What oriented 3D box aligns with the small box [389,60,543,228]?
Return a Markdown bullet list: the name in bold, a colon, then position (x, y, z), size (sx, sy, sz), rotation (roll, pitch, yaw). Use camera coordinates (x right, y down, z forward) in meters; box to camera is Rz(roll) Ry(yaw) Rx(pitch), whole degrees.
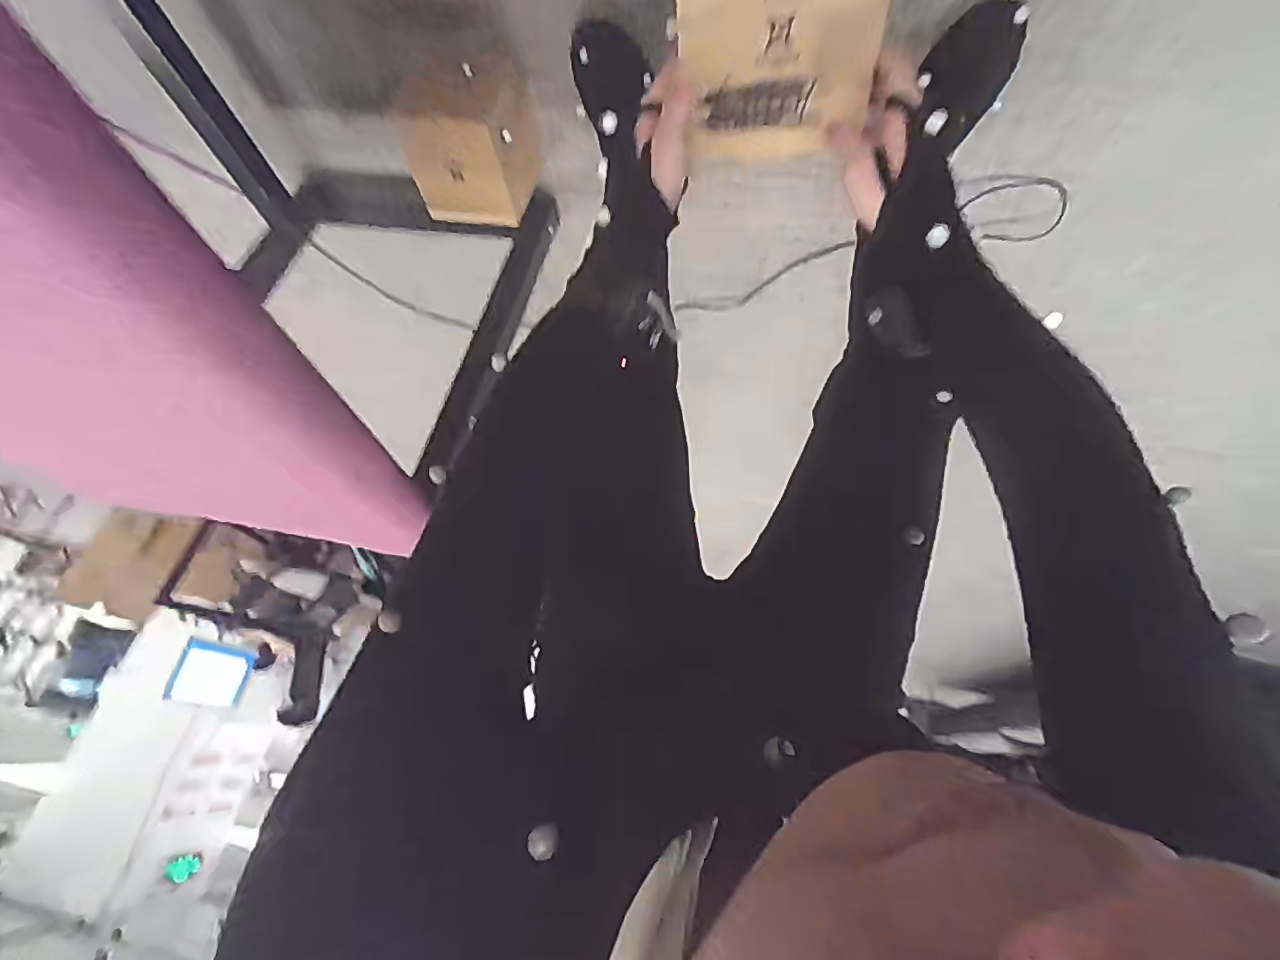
- **small box**: position (-0.276, -0.559, 0.908), size (0.168, 0.176, 0.179), rotation (9, 153, 9)
